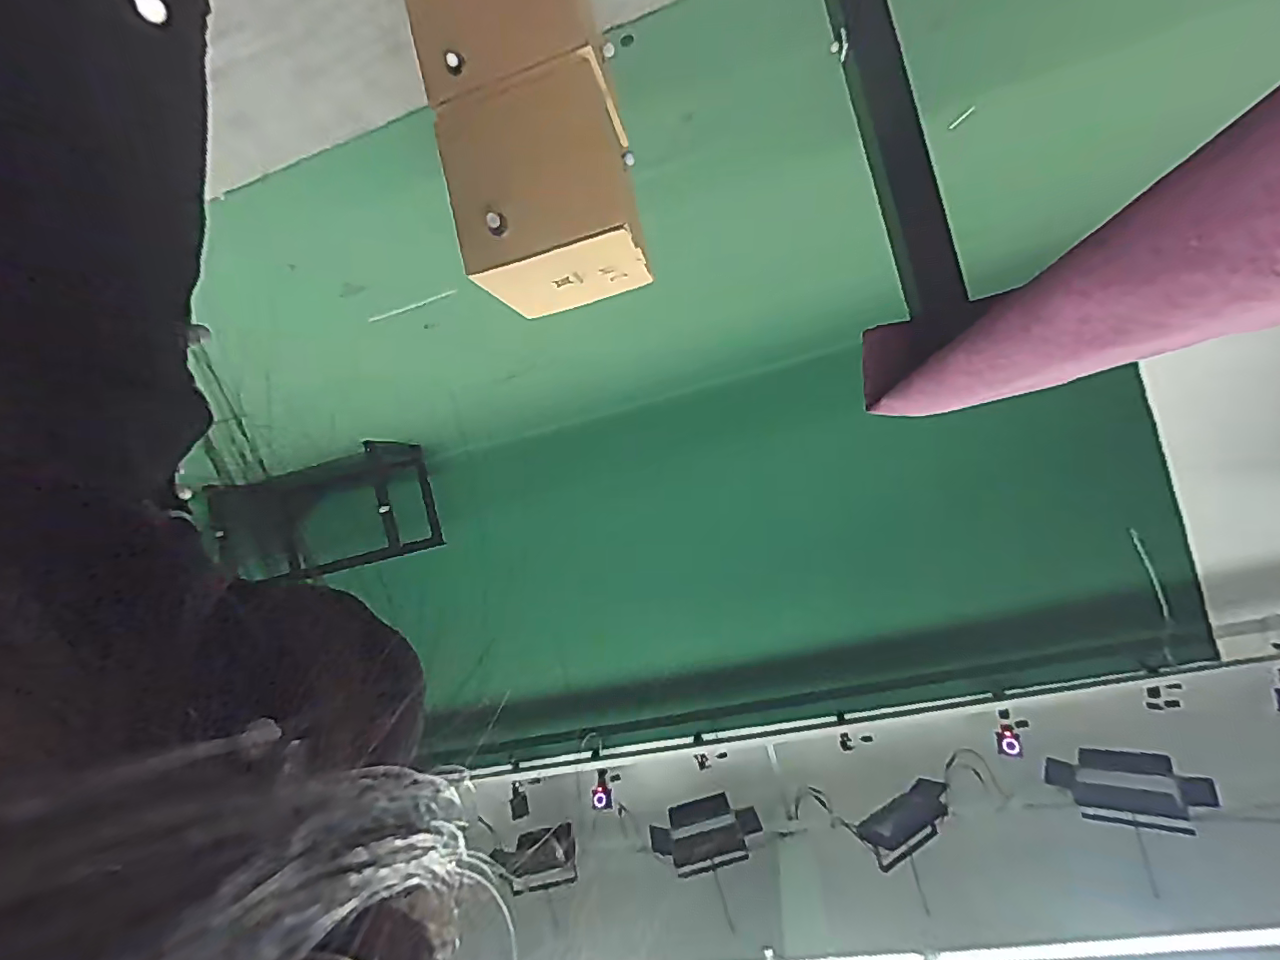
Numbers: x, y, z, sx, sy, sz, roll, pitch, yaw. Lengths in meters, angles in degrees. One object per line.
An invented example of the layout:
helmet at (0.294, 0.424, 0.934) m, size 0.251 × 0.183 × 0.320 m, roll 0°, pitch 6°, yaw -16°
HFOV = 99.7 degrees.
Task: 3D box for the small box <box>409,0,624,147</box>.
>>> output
small box at (-0.135, -0.470, 0.606) m, size 0.179 × 0.176 × 0.168 m, roll -13°, pitch 179°, yaw 11°

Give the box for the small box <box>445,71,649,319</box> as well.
small box at (-0.102, -0.309, 0.618) m, size 0.179 × 0.176 × 0.168 m, roll -14°, pitch 179°, yaw 11°
